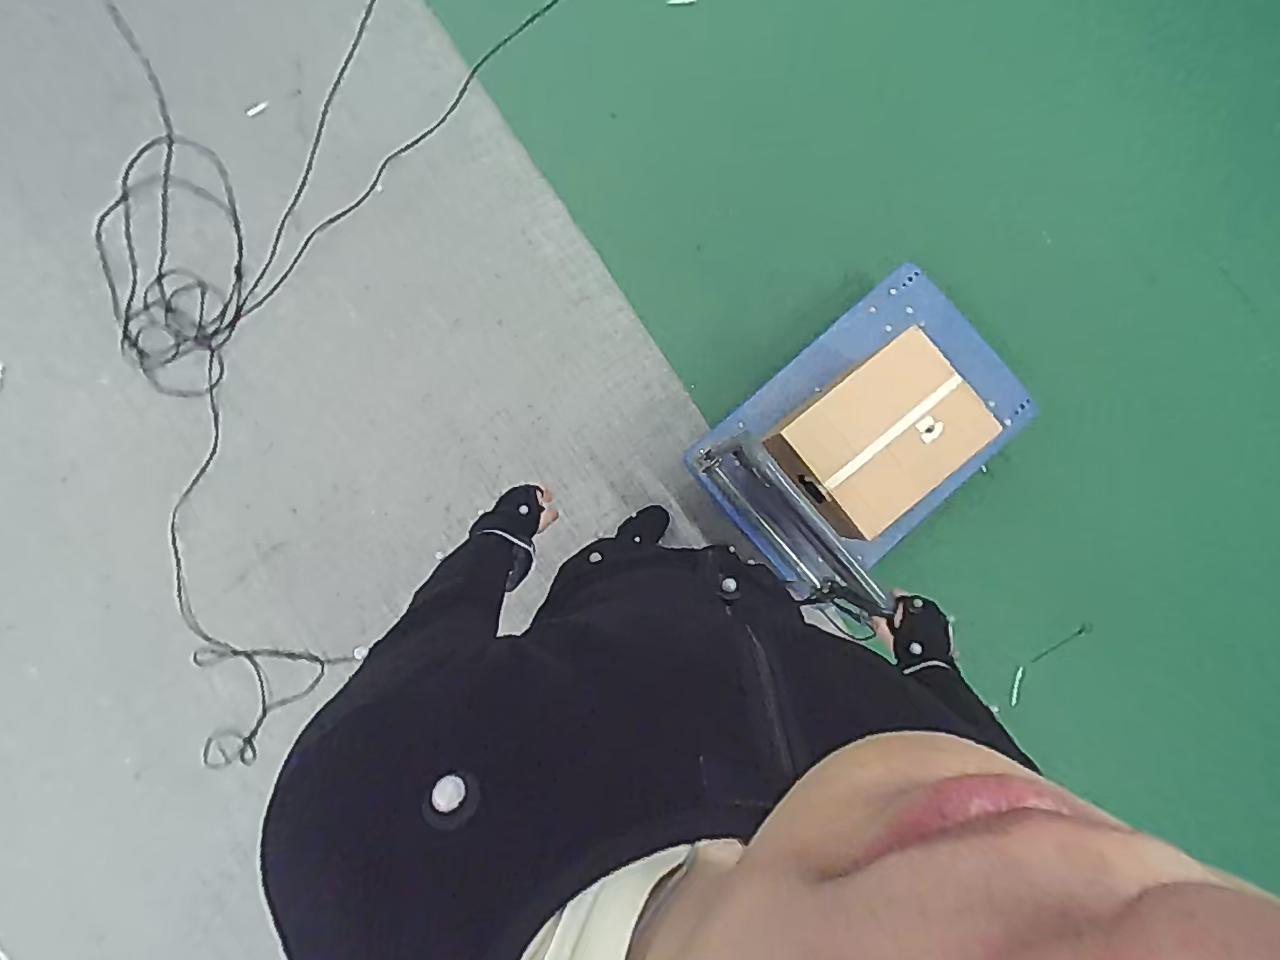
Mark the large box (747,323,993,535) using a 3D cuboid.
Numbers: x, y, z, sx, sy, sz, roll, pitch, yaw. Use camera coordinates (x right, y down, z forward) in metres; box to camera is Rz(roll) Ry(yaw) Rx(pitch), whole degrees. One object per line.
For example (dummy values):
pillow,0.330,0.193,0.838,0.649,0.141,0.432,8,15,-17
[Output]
large box,0.542,-0.105,1.351,0.408,0.320,0.320,-38,90,-4
